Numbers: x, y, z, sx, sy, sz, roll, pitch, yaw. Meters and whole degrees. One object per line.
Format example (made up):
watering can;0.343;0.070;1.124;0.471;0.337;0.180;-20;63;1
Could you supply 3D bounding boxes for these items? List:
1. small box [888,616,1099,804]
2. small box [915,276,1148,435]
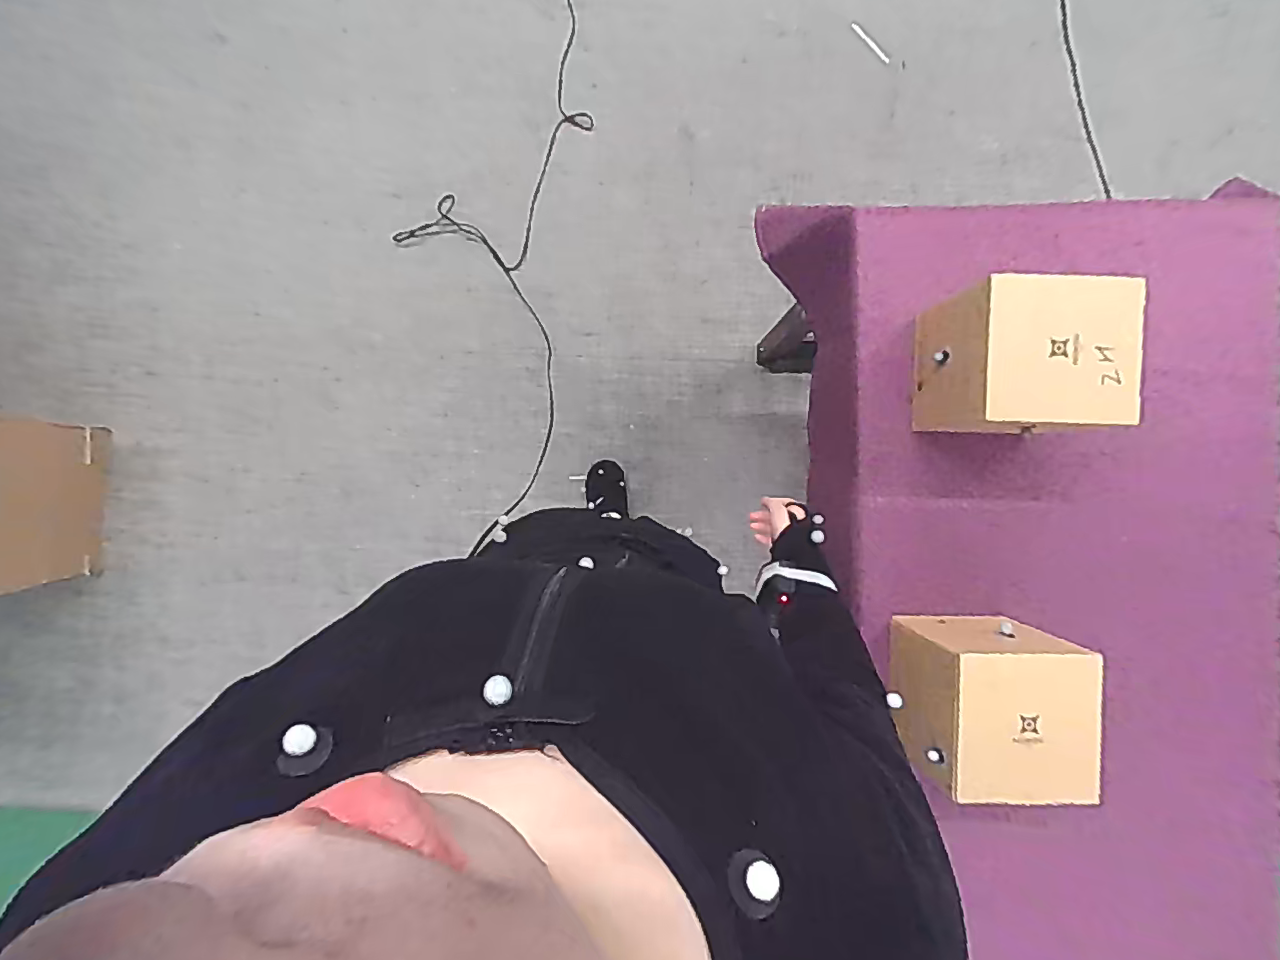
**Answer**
small box;0.438;0.281;0.696;0.168;0.176;0.179;1;92;0
small box;0.473;-0.145;0.681;0.179;0.176;0.168;2;92;0
